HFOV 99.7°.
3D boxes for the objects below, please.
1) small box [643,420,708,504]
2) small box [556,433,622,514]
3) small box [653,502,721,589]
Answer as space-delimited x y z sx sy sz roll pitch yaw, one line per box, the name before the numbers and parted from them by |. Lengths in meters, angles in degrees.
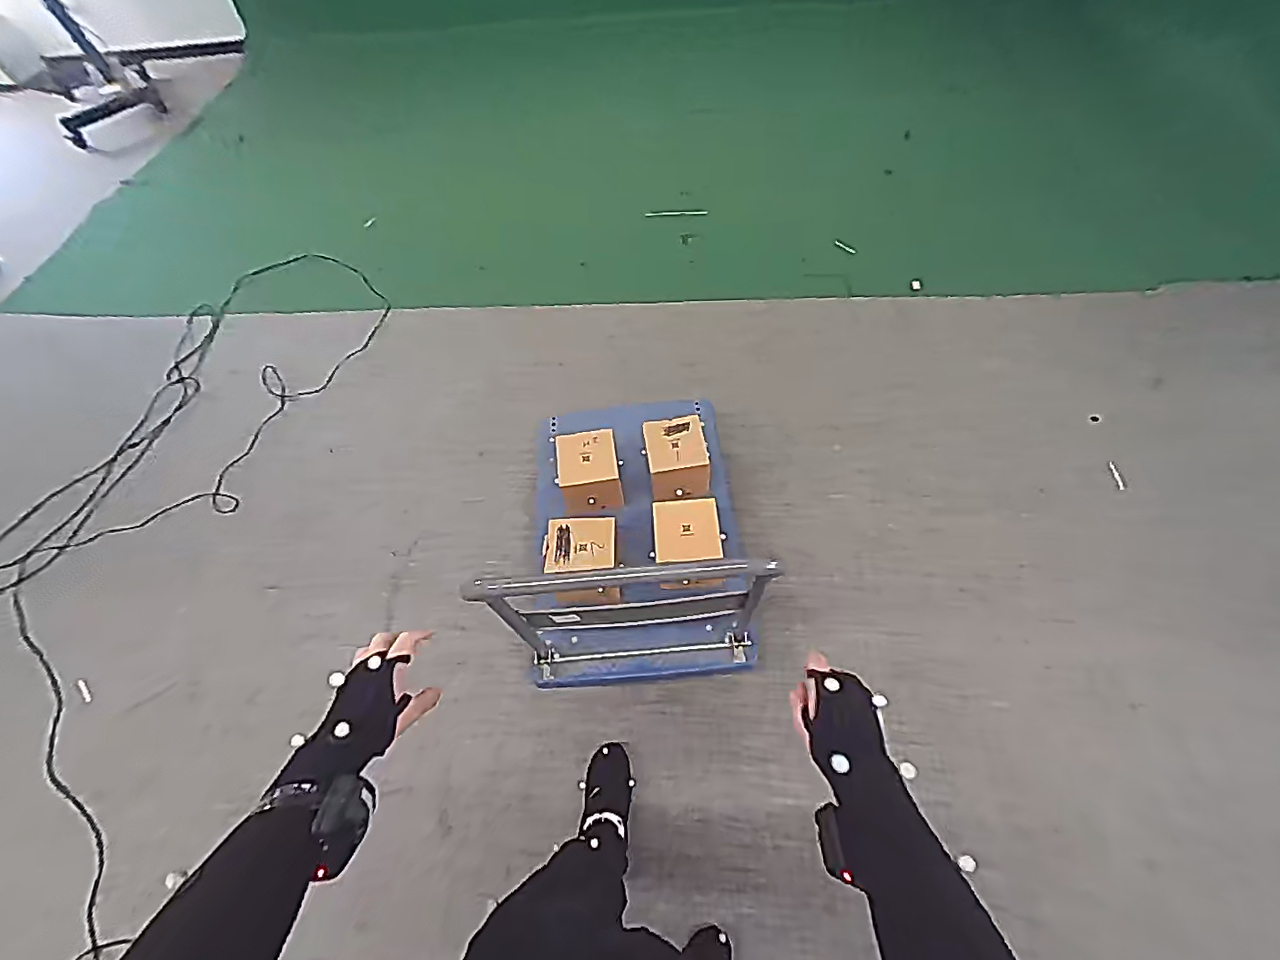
small box | 0.102 -0.051 1.595 0.168 0.176 0.179 -9 59 0
small box | -0.147 -0.011 1.592 0.168 0.176 0.179 -8 58 -1
small box | 0.122 0.178 1.452 0.168 0.176 0.179 -5 58 2
